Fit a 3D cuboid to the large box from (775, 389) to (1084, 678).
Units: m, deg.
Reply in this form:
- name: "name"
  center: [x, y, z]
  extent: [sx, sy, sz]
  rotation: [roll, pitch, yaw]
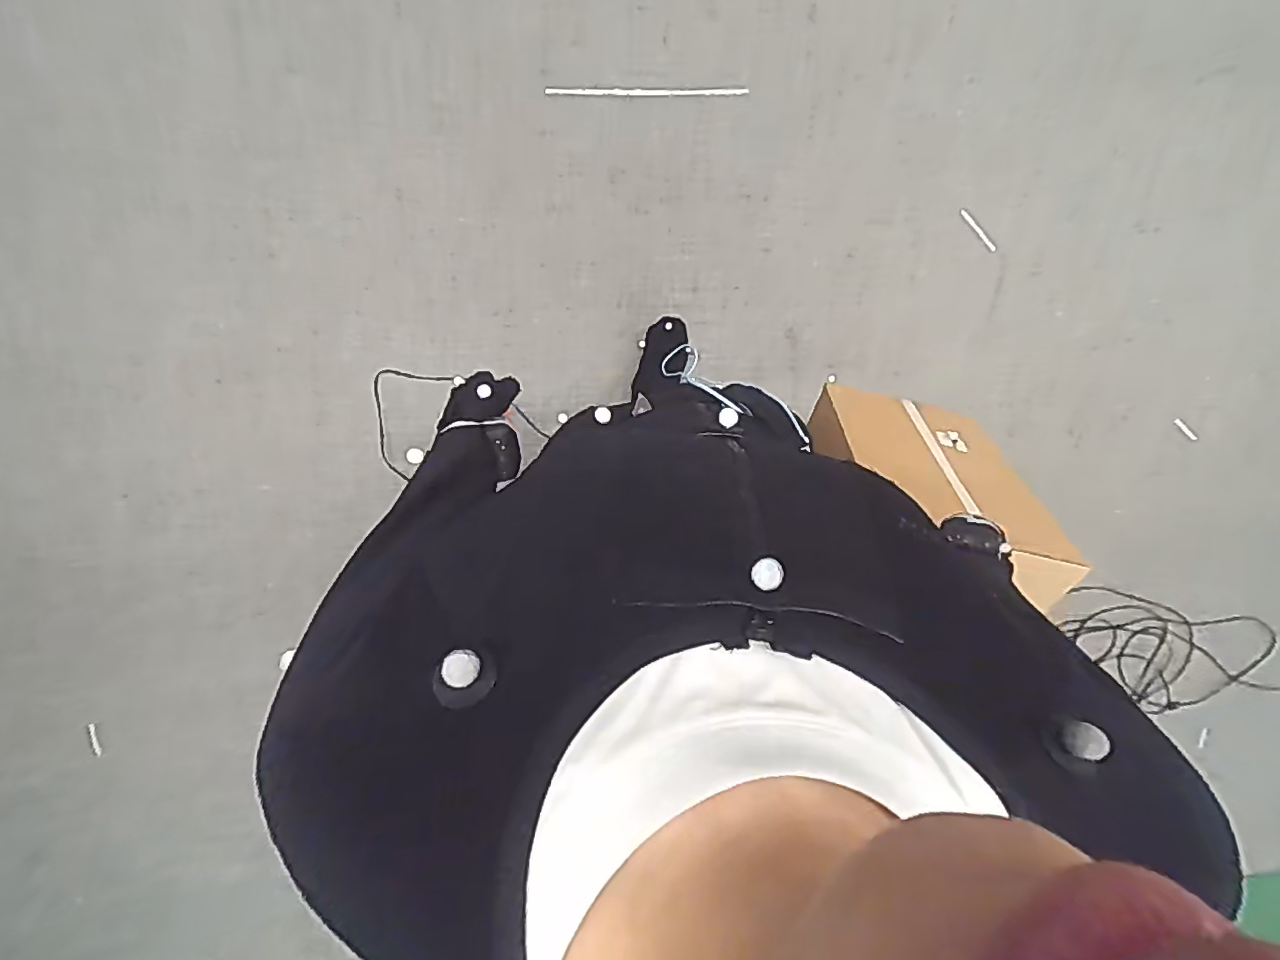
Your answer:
- name: "large box"
  center: [0.462, 0.086, 0.990]
  extent: [0.320, 0.408, 0.320]
  rotation: [12, 127, -3]
